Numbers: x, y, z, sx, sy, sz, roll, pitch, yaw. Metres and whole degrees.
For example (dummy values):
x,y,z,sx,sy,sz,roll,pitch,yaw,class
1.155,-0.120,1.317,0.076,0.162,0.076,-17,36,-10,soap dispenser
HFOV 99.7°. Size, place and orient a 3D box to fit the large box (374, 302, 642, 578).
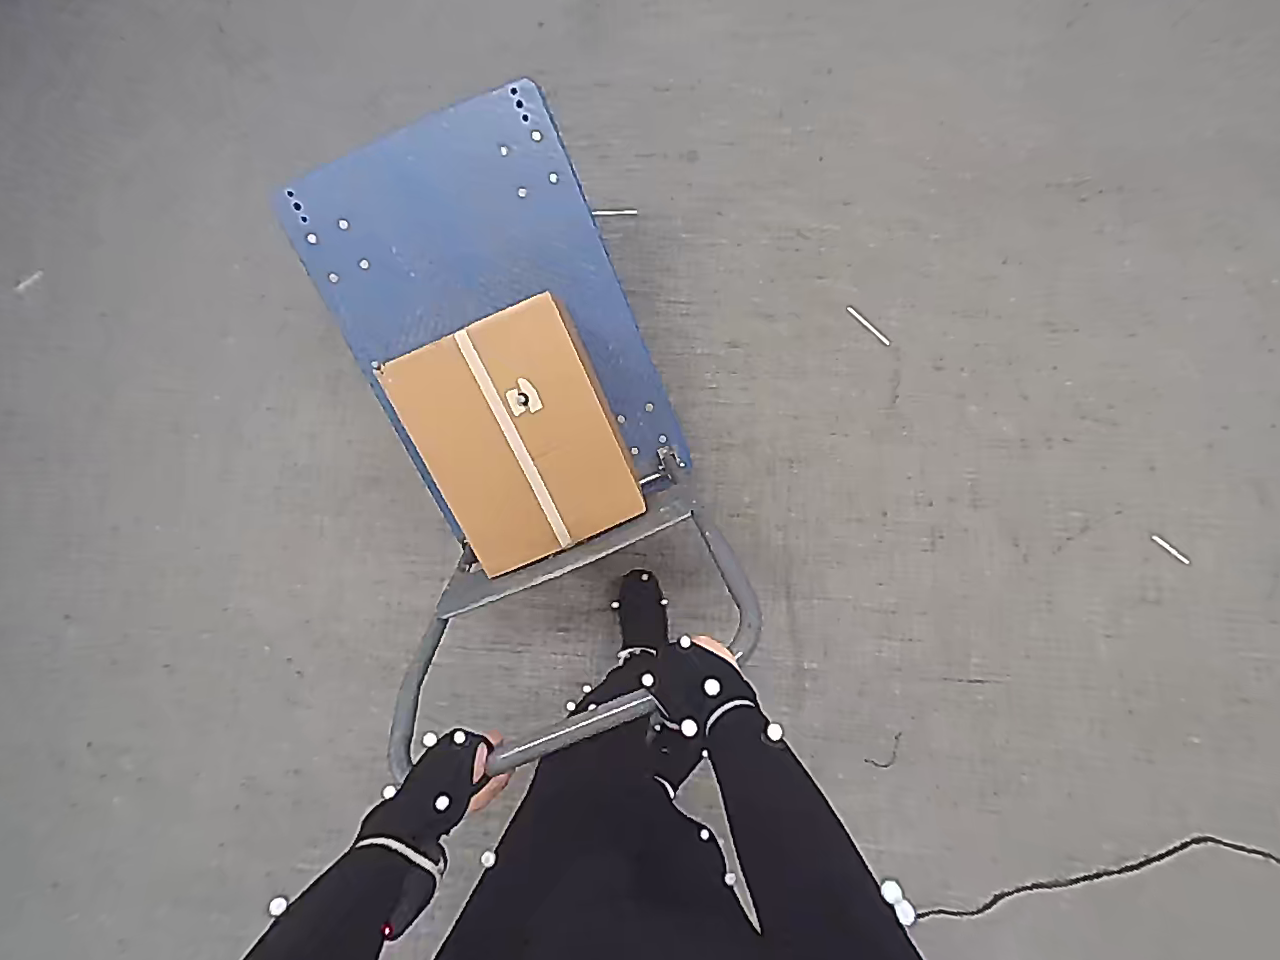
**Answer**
x,y,z,sx,sy,sz,roll,pitch,yaw,class
-0.222,-0.091,1.063,0.320,0.320,0.408,-24,105,2,large box
